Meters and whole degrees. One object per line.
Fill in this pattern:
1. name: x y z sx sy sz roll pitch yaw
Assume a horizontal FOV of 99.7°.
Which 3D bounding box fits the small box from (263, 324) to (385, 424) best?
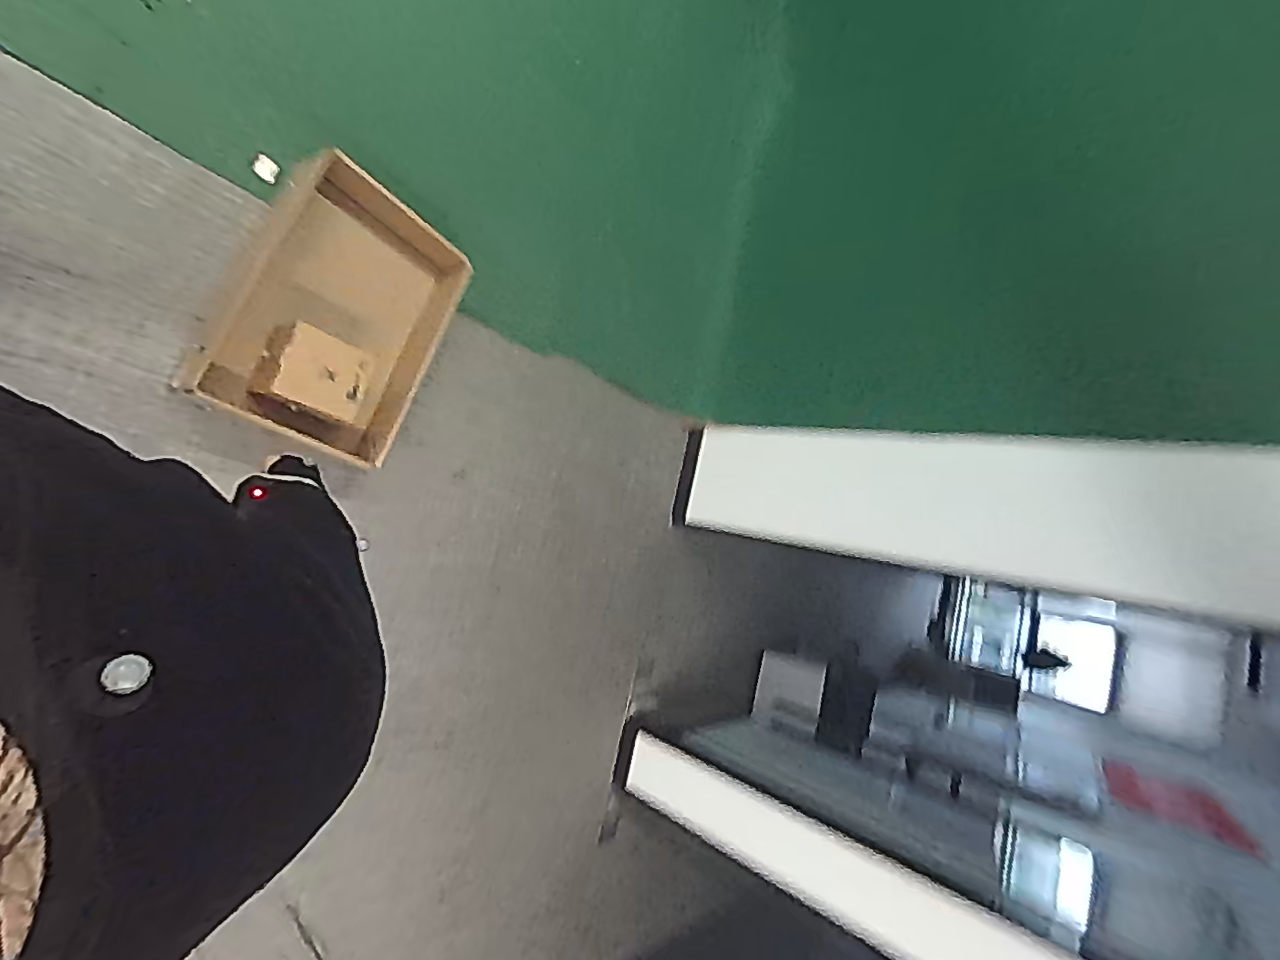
1. small box: -0.734 -0.236 1.251 0.179 0.176 0.168 27 75 -46
